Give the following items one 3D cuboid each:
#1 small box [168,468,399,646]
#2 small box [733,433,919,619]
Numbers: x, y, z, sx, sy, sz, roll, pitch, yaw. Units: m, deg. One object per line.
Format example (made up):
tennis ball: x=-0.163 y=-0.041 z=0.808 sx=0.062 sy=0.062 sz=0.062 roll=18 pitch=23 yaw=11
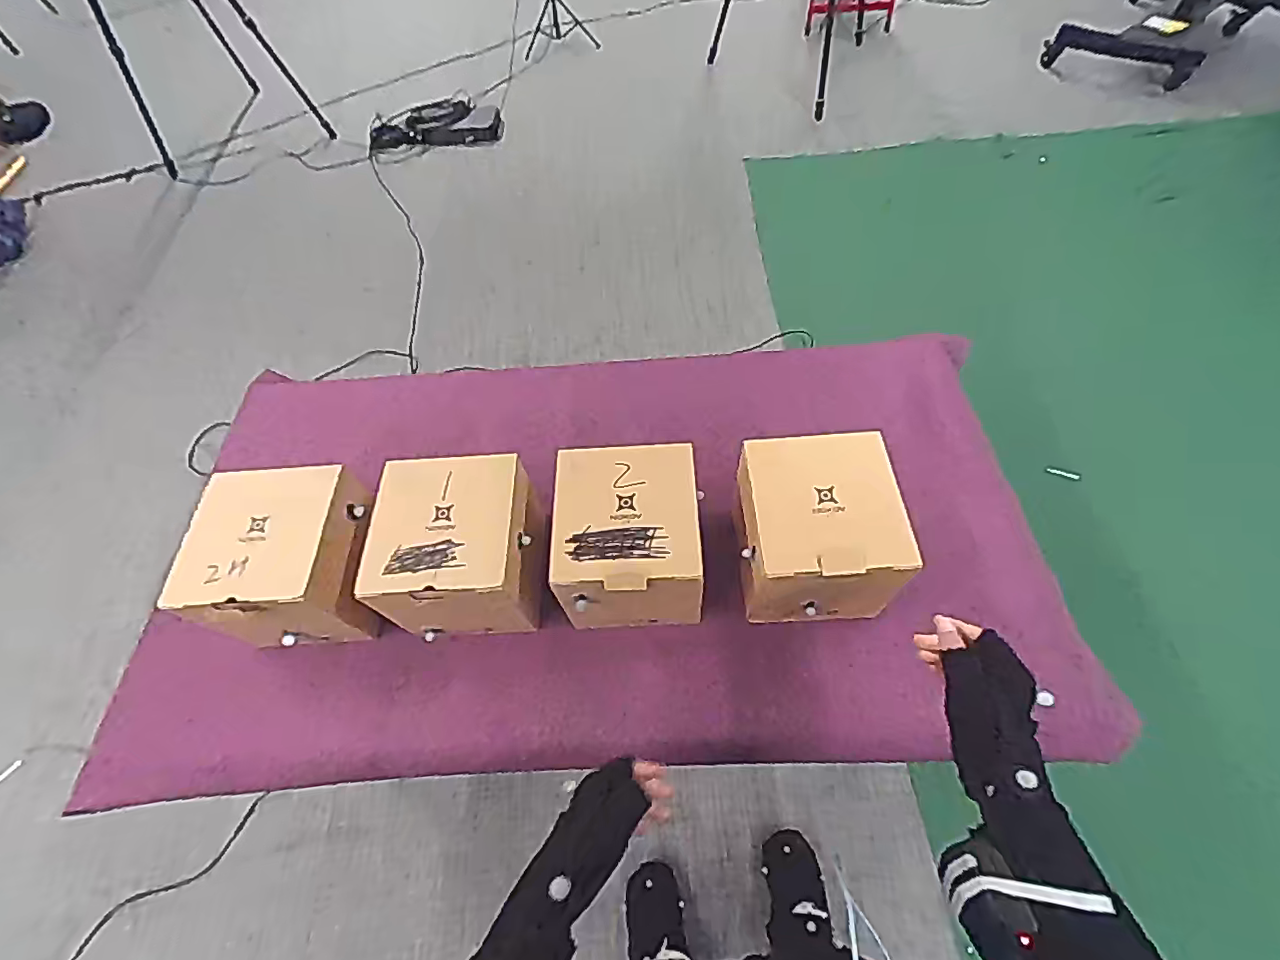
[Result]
small box: x=-0.437 y=0.104 z=0.702 sx=0.168 sy=0.176 sz=0.179 roll=-4 pitch=59 yaw=2
small box: x=0.213 y=0.062 z=0.677 sx=0.168 sy=0.176 sz=0.179 roll=-4 pitch=60 yaw=2
